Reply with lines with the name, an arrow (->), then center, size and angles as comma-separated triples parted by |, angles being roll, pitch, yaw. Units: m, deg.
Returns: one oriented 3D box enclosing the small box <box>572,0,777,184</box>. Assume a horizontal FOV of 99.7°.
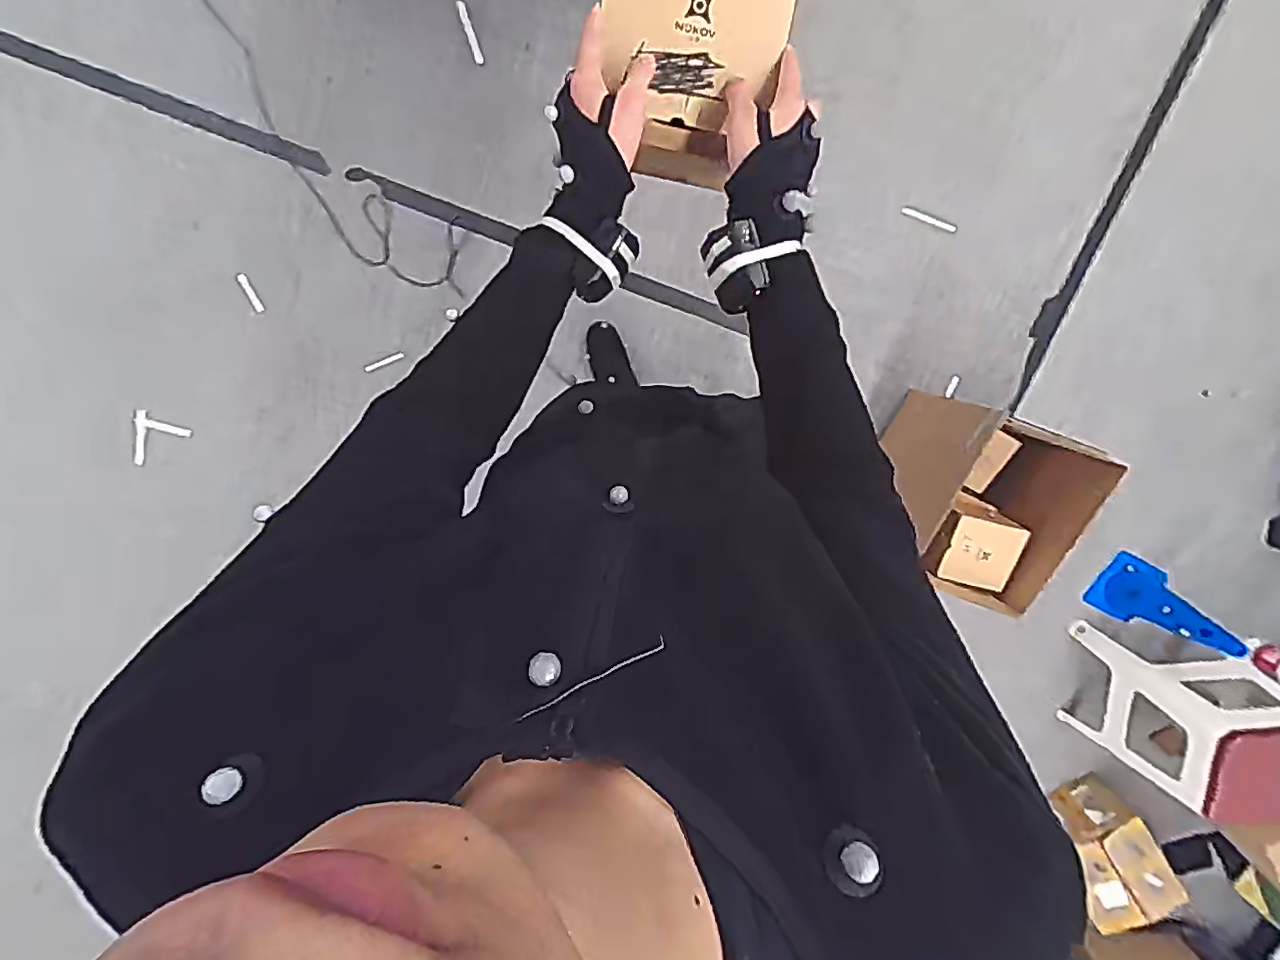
small box -> 0.032, -0.422, 0.542 | 0.168, 0.176, 0.179 | 9, 104, -4
